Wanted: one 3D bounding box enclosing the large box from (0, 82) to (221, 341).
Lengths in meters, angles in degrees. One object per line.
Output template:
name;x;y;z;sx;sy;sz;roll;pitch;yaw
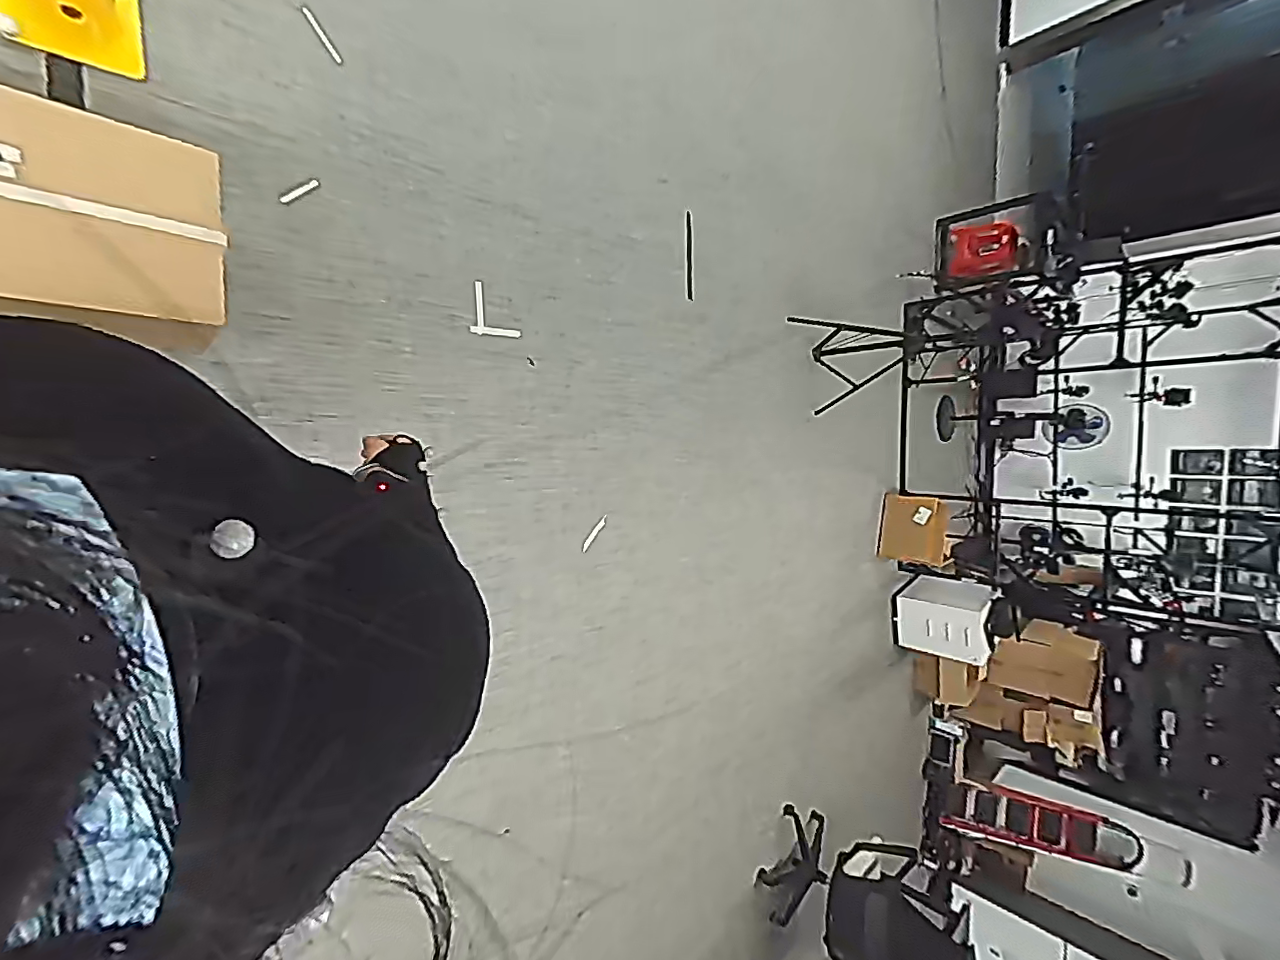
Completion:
large box;-1.008;-0.441;0.944;0.408;0.320;0.320;-2;92;-44
